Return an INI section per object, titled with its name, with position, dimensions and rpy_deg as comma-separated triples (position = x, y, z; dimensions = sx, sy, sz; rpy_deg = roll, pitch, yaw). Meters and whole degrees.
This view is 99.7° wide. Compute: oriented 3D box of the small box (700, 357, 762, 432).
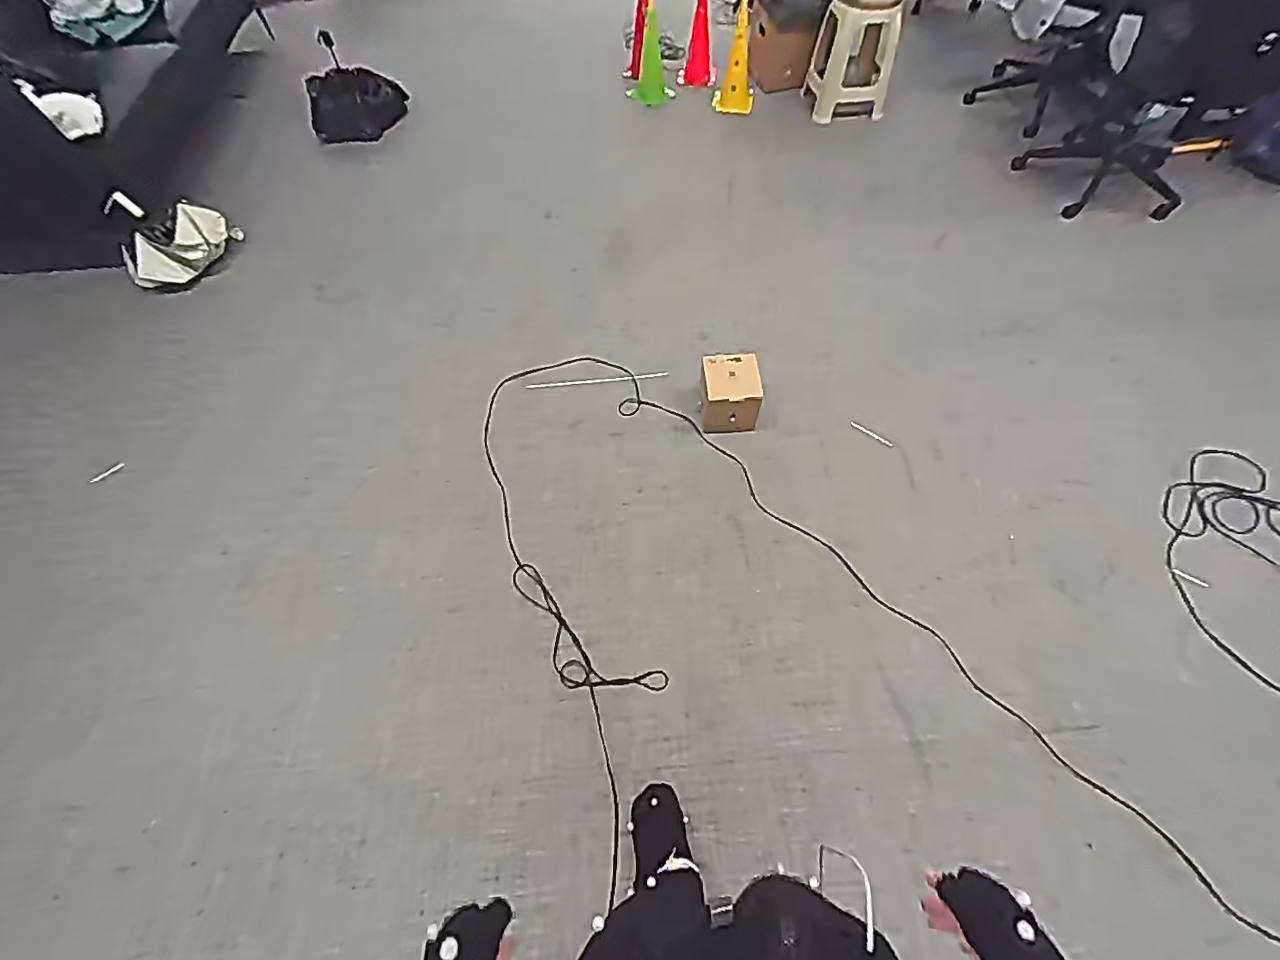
[small box]
position = 0.281, -0.261, 1.694
dimensions = 0.168, 0.176, 0.179
rpy_deg = -2, 61, 0
